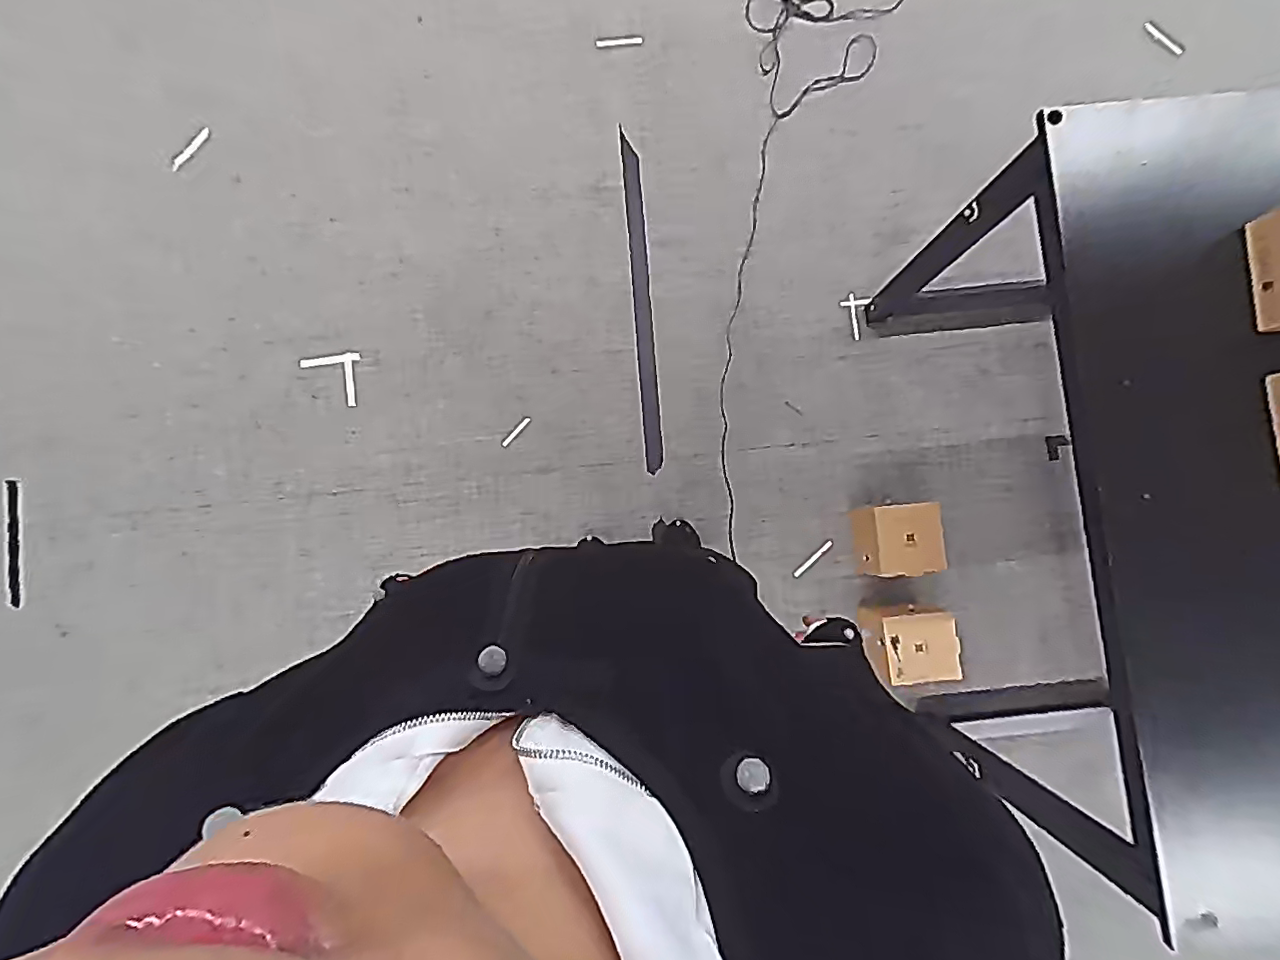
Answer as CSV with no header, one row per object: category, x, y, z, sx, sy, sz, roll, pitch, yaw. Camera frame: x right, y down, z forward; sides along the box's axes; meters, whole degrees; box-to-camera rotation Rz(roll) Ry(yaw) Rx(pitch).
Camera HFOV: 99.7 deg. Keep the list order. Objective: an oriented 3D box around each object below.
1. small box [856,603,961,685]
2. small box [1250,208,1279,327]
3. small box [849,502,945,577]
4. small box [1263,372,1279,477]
small box,0.684,0.415,1.391,0.179,0.176,0.168,-6,84,0
small box,0.979,-0.310,0.717,0.179,0.176,0.168,-2,86,0
small box,0.665,0.154,1.416,0.168,0.176,0.179,-5,84,0
small box,0.992,-0.087,0.698,0.179,0.176,0.168,-6,86,2
